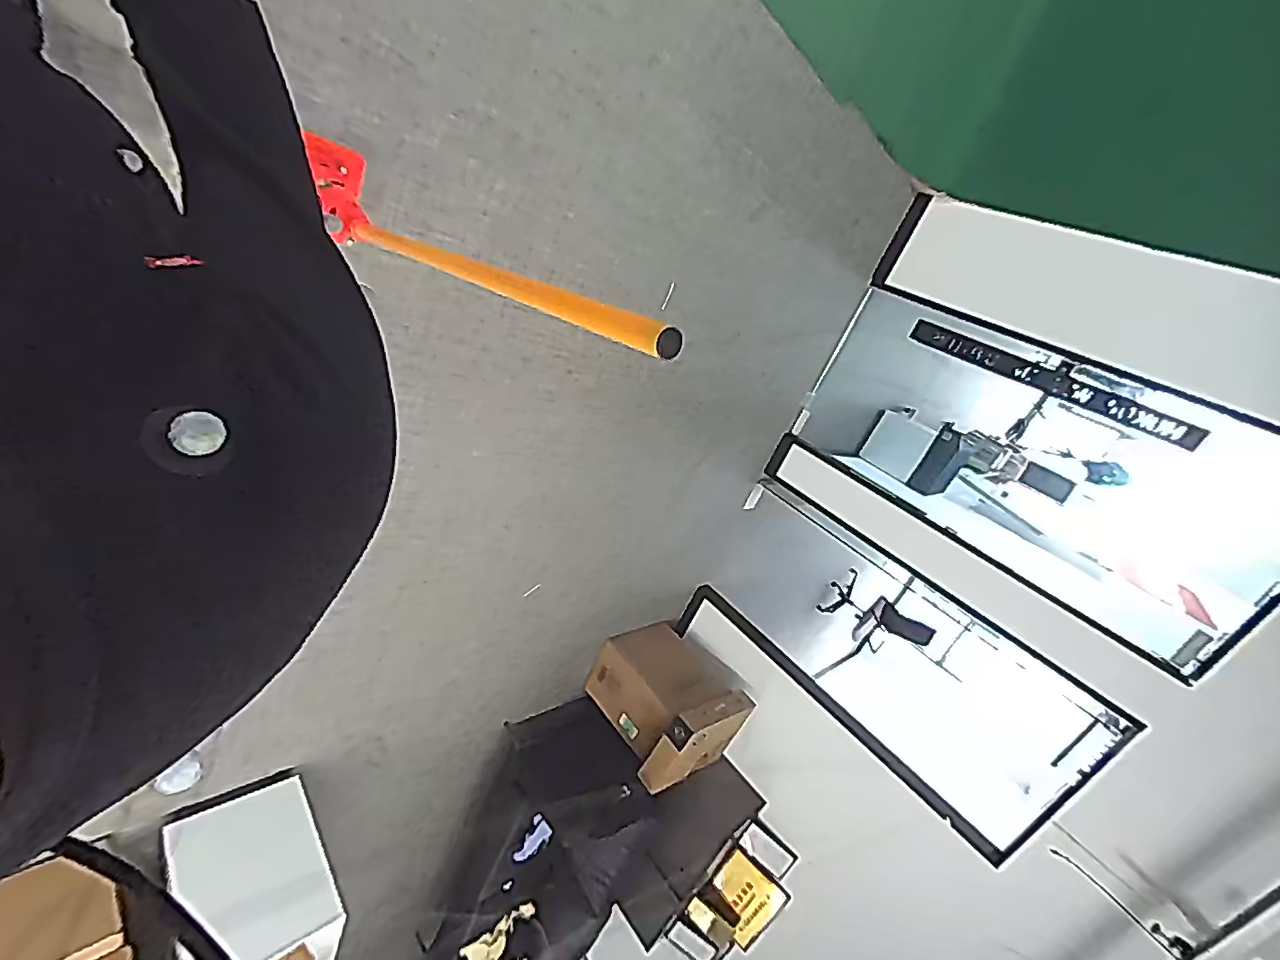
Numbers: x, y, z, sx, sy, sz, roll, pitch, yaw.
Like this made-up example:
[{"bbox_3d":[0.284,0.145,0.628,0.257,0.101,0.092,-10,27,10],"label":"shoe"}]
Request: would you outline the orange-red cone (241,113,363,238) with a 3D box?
[{"bbox_3d":[-0.624,-0.555,1.065,0.199,0.360,0.198,3,120,-47],"label":"orange-red cone"}]
